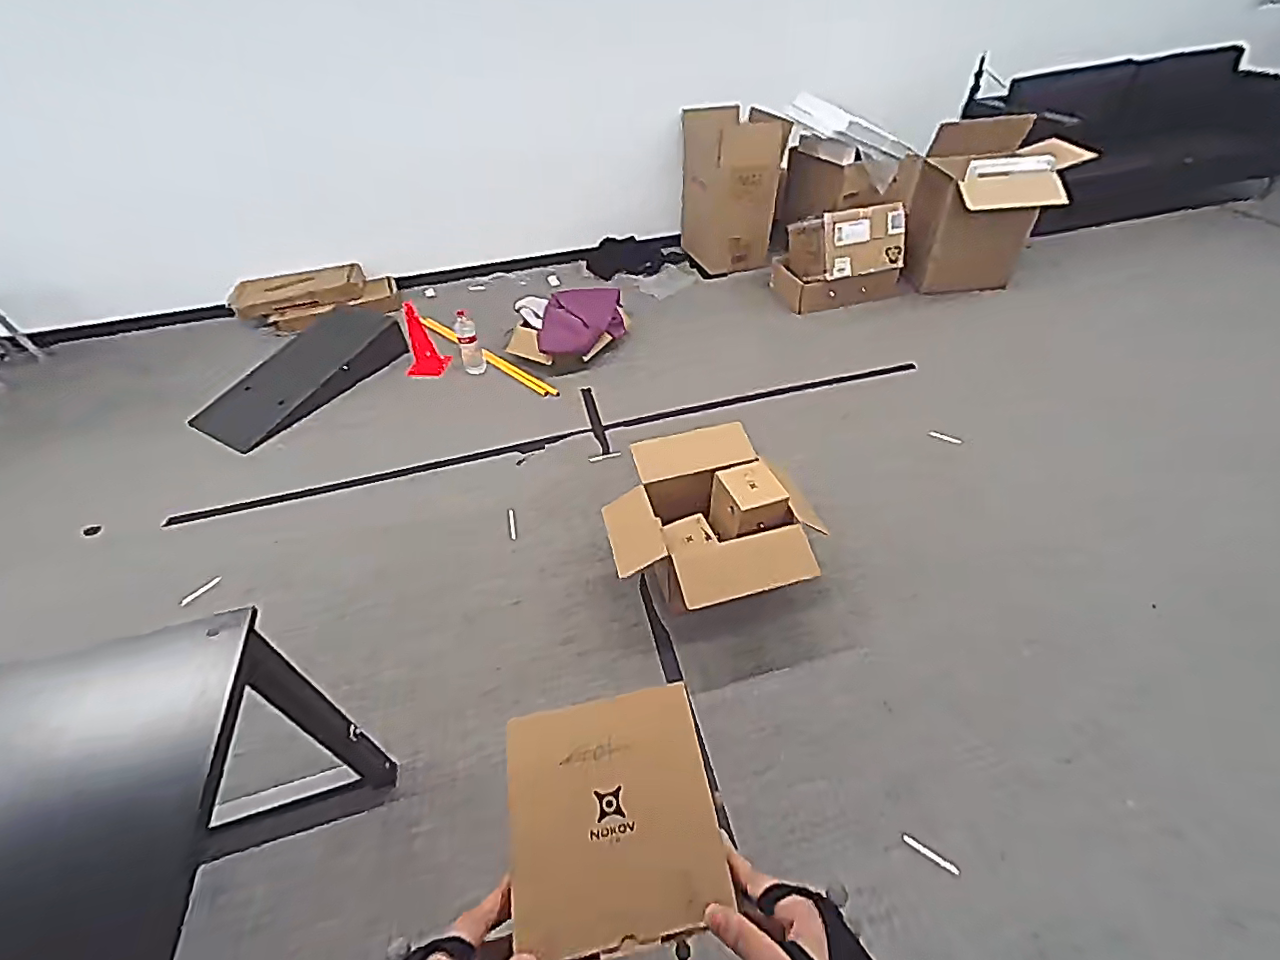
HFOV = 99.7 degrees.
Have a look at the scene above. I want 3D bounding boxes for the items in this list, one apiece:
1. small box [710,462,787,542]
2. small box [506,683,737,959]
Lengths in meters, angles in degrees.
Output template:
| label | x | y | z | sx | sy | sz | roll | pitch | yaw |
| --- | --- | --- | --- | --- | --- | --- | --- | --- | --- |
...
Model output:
| label | x | y | z | sx | sy | sz | roll | pitch | yaw |
| --- | --- | --- | --- | --- | --- | --- | --- | --- | --- |
| small box | 0.332 | 0.075 | 1.686 | 0.168 | 0.176 | 0.179 | -14 | 45 | -16 |
| small box | -0.018 | 0.315 | 0.496 | 0.168 | 0.176 | 0.179 | -11 | 50 | -5 |
